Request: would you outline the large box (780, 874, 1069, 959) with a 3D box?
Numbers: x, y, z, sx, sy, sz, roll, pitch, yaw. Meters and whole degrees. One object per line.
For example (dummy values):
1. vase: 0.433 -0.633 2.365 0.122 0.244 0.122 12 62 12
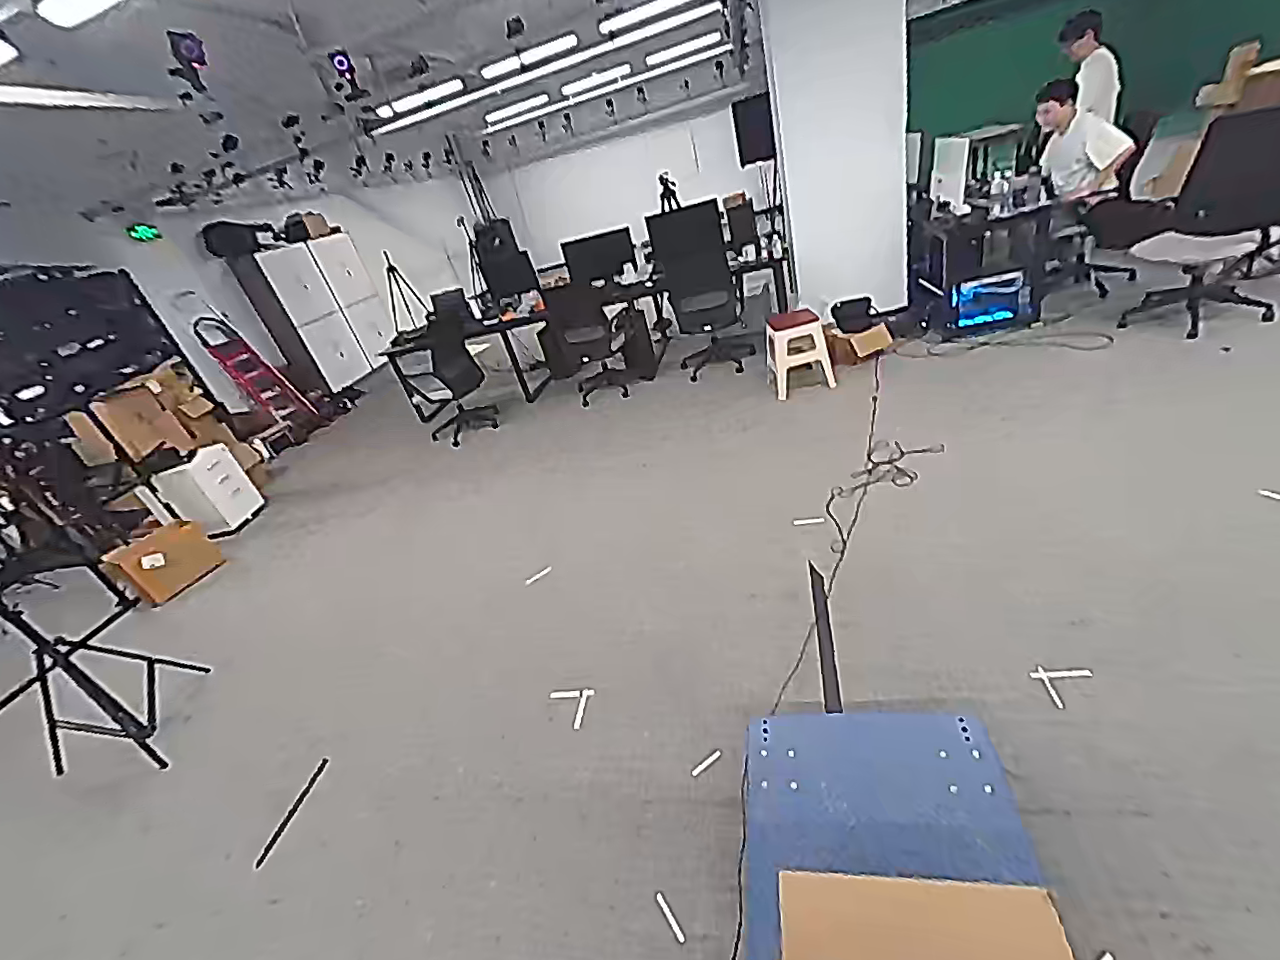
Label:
1. large box: 0.447 0.866 0.844 0.408 0.320 0.320 -7 34 15
